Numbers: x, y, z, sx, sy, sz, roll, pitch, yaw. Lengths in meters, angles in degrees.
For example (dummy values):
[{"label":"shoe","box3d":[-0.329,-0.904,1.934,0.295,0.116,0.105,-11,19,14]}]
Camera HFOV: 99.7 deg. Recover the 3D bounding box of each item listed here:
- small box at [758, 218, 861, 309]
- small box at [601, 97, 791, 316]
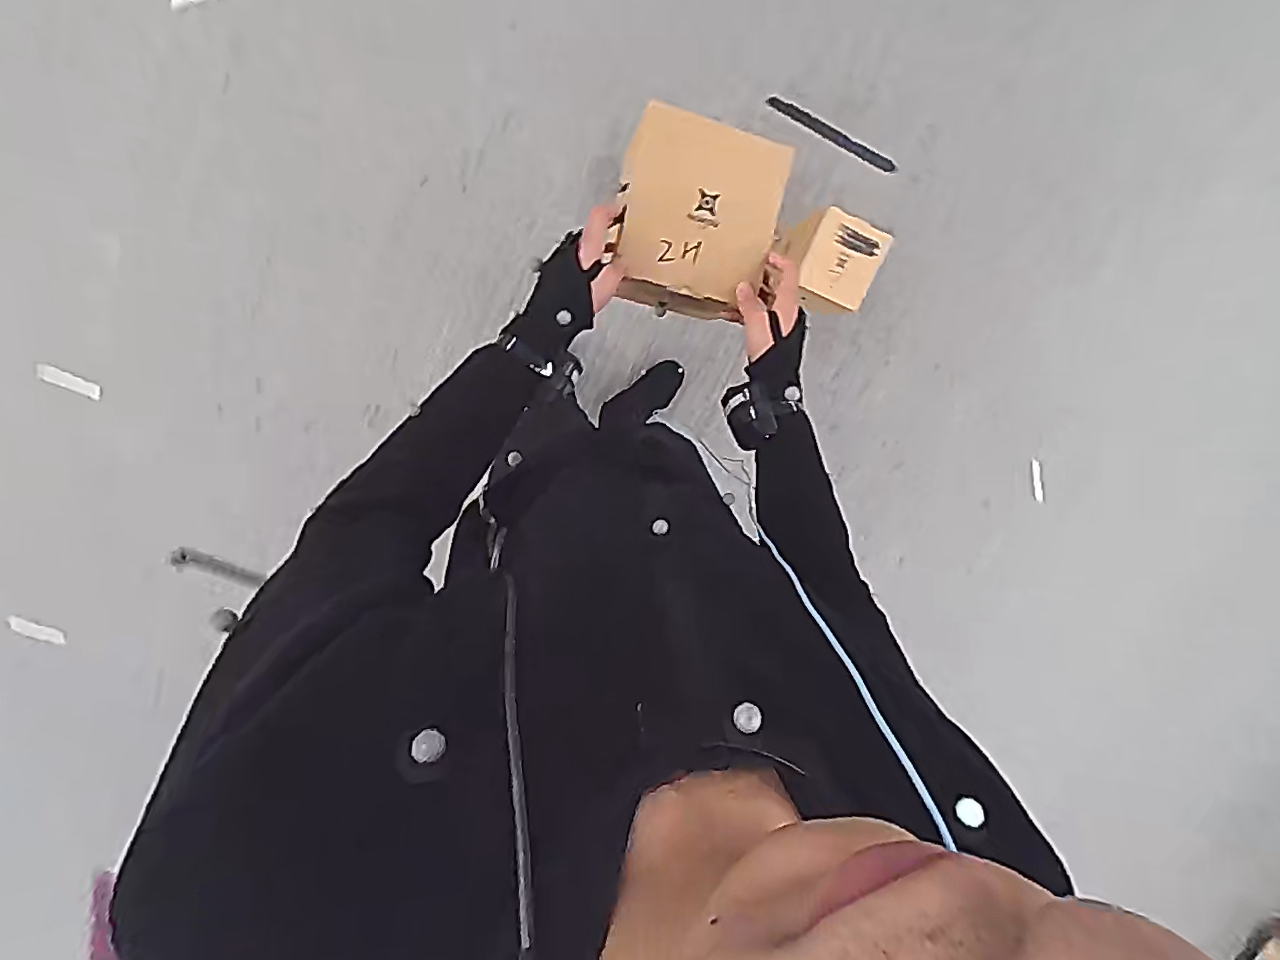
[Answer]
[{"label":"small box","box3d":[0.438,-0.564,1.432,0.179,0.176,0.168,22,105,-11]},{"label":"small box","box3d":[0.053,-0.309,0.656,0.168,0.176,0.179,11,101,-12]}]
